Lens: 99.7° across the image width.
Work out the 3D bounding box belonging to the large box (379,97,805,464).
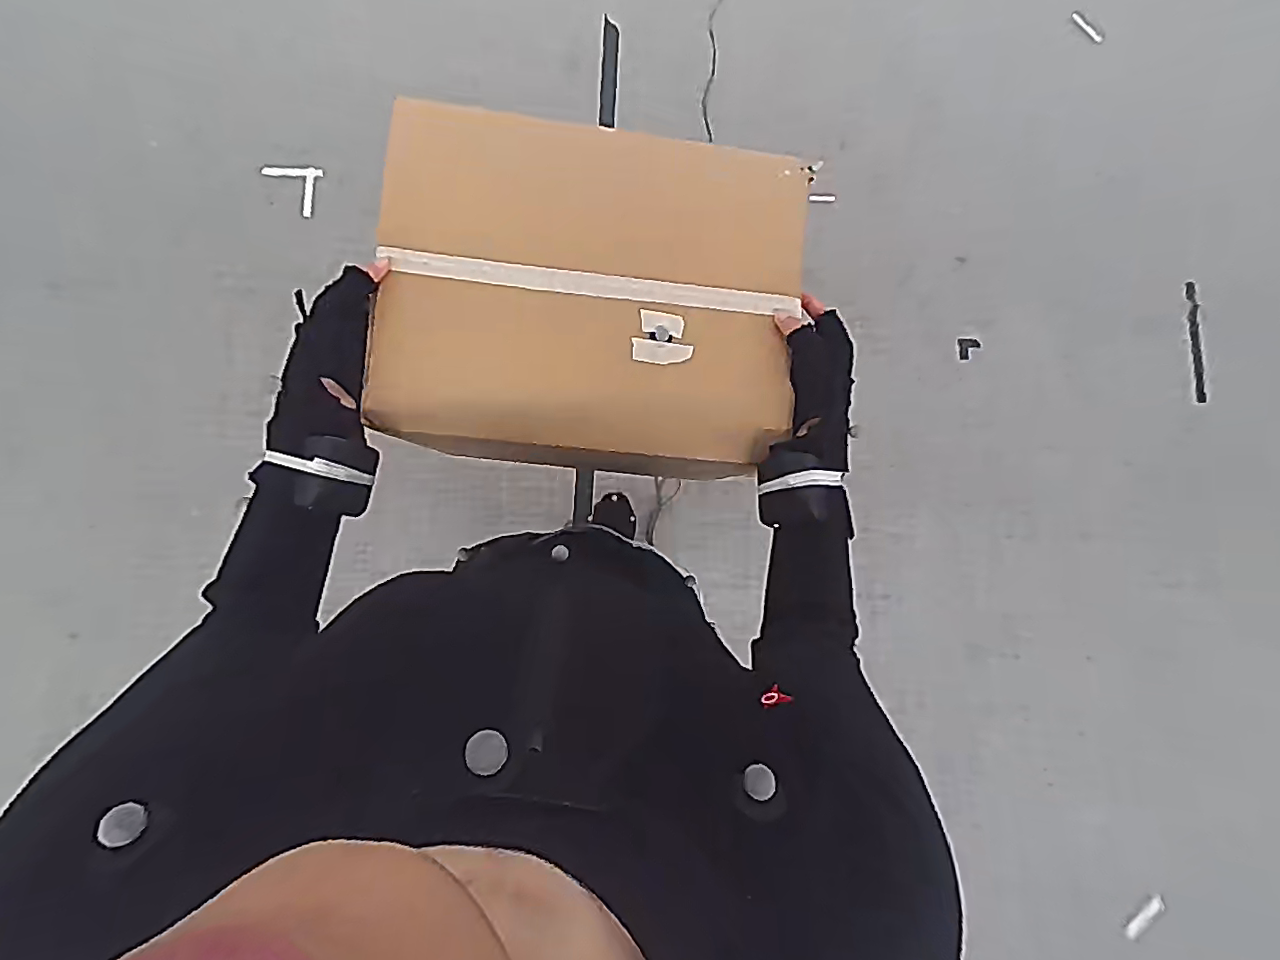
[{"bbox_3d":[-0.055,-0.196,0.678,0.408,0.320,0.320,6,89,-6],"label":"large box"}]
